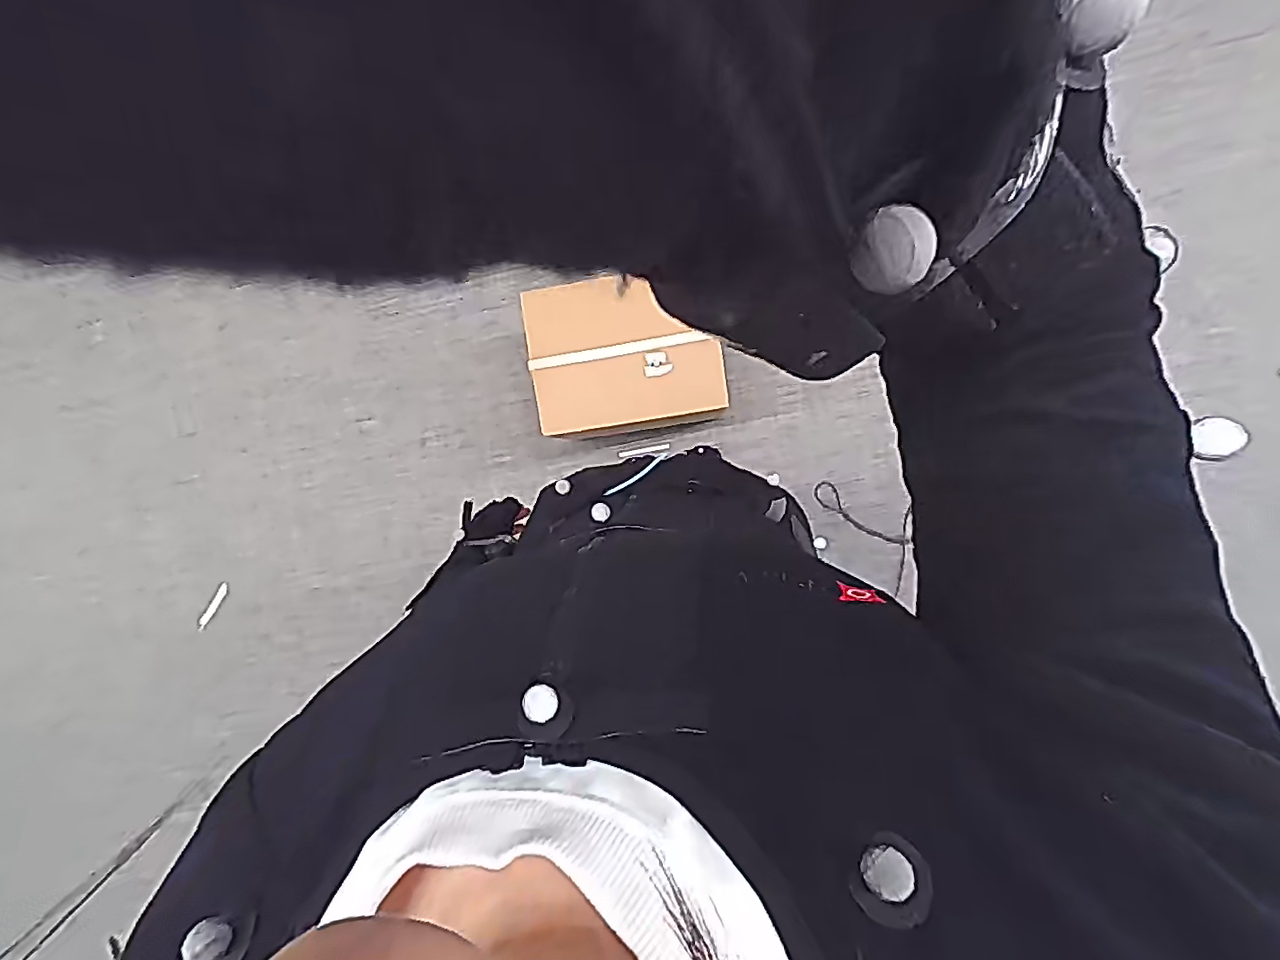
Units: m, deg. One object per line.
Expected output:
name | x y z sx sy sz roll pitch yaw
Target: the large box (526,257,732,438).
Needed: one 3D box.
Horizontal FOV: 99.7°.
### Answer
large box | -0.017 -0.289 1.292 0.408 0.320 0.320 -9 92 4
